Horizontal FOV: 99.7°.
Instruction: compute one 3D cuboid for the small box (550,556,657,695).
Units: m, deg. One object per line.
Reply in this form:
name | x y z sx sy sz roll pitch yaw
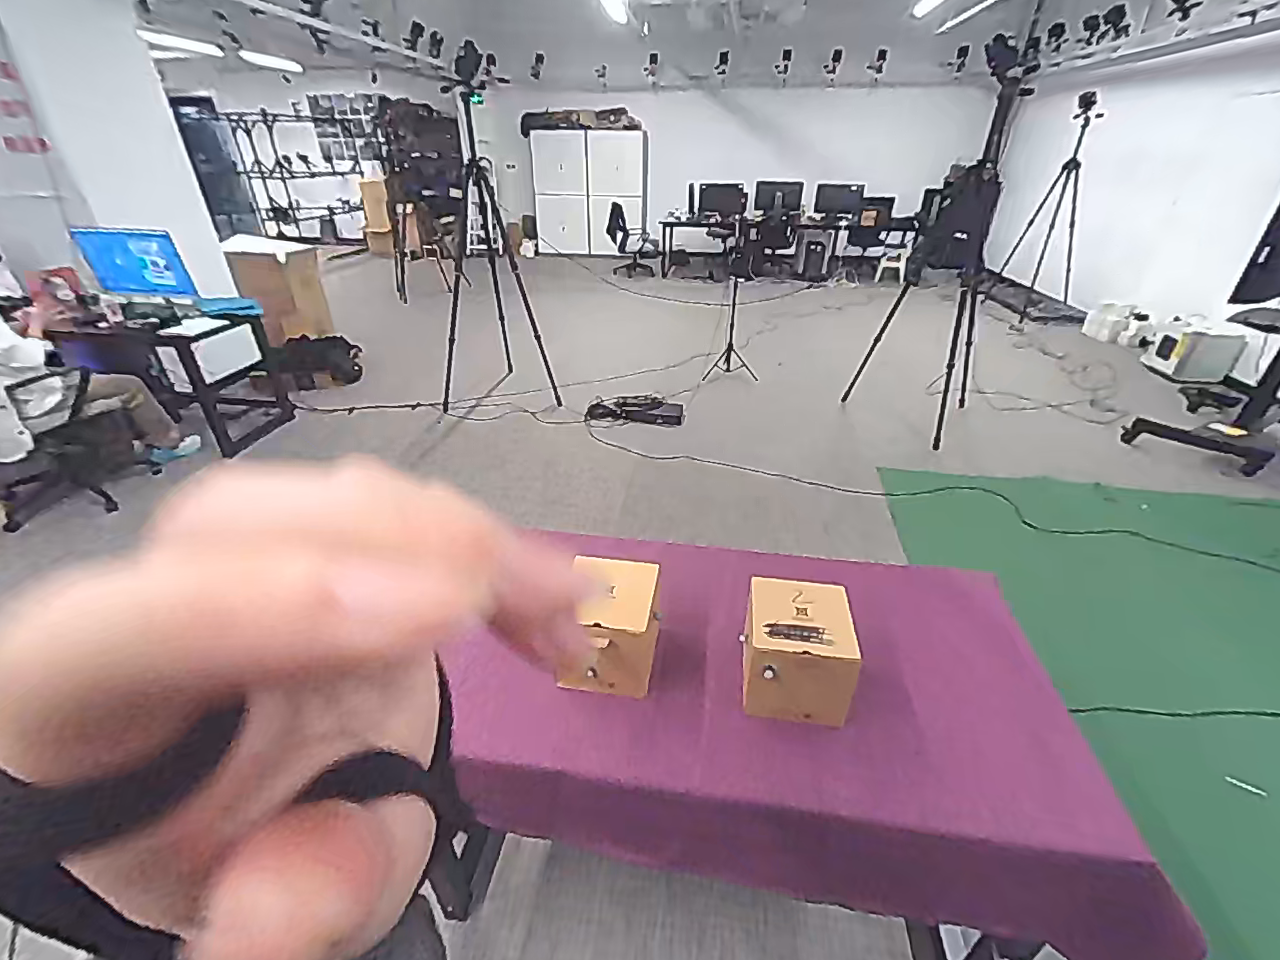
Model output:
small box | -0.062 0.270 1.016 0.168 0.176 0.179 5 32 8
